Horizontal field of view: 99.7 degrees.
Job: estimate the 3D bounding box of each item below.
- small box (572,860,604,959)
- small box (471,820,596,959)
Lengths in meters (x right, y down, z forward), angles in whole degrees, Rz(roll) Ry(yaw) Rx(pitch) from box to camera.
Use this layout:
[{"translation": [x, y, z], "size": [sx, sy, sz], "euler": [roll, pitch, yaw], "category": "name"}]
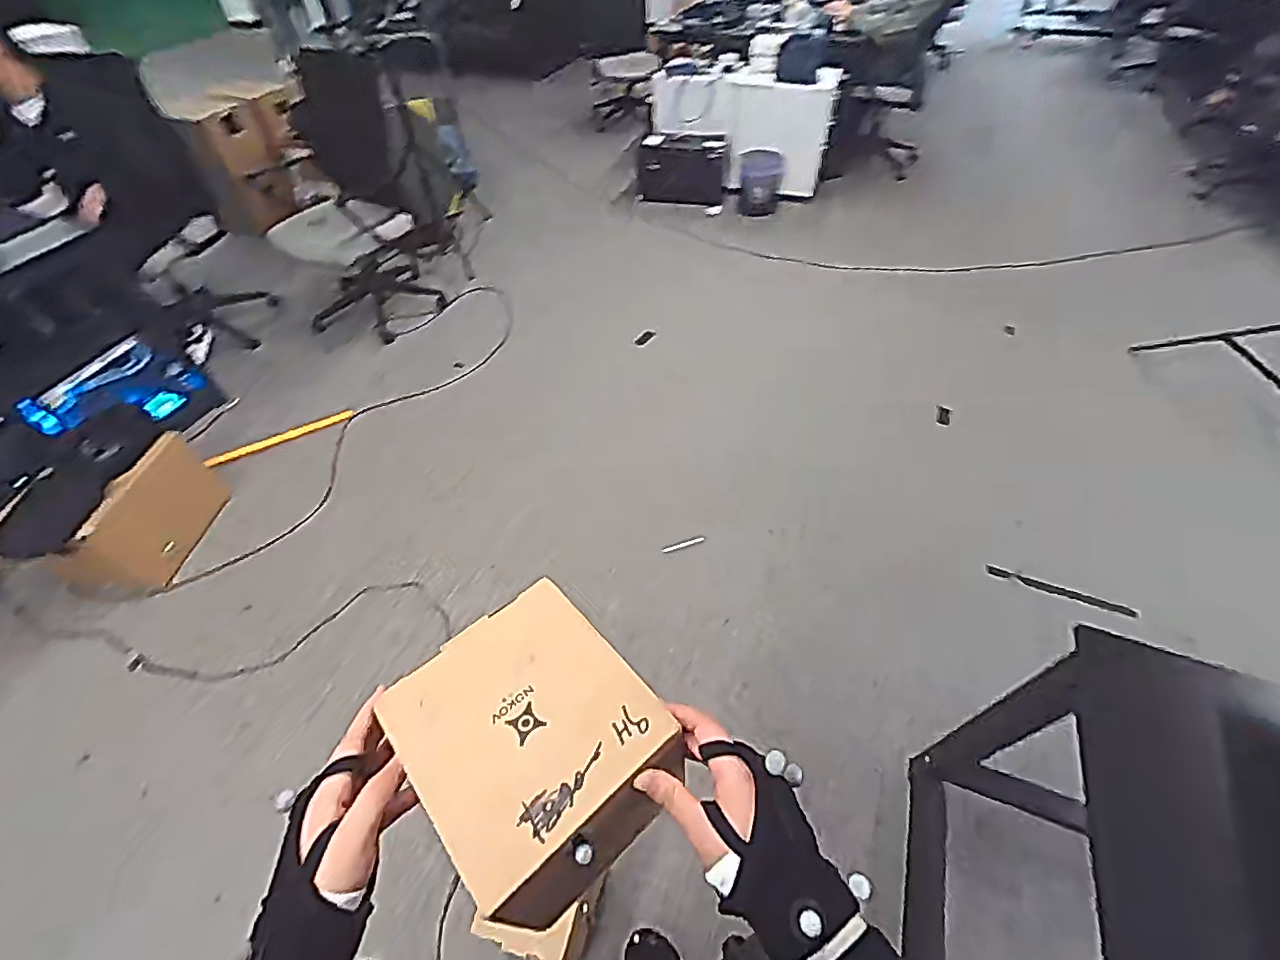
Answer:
[{"translation": [-0.179, 0.873, 1.116], "size": [0.168, 0.176, 0.179], "euler": [12, 52, 12], "category": "small box"}, {"translation": [-0.183, 0.763, 0.998], "size": [0.168, 0.176, 0.179], "euler": [10, 49, 9], "category": "small box"}]
